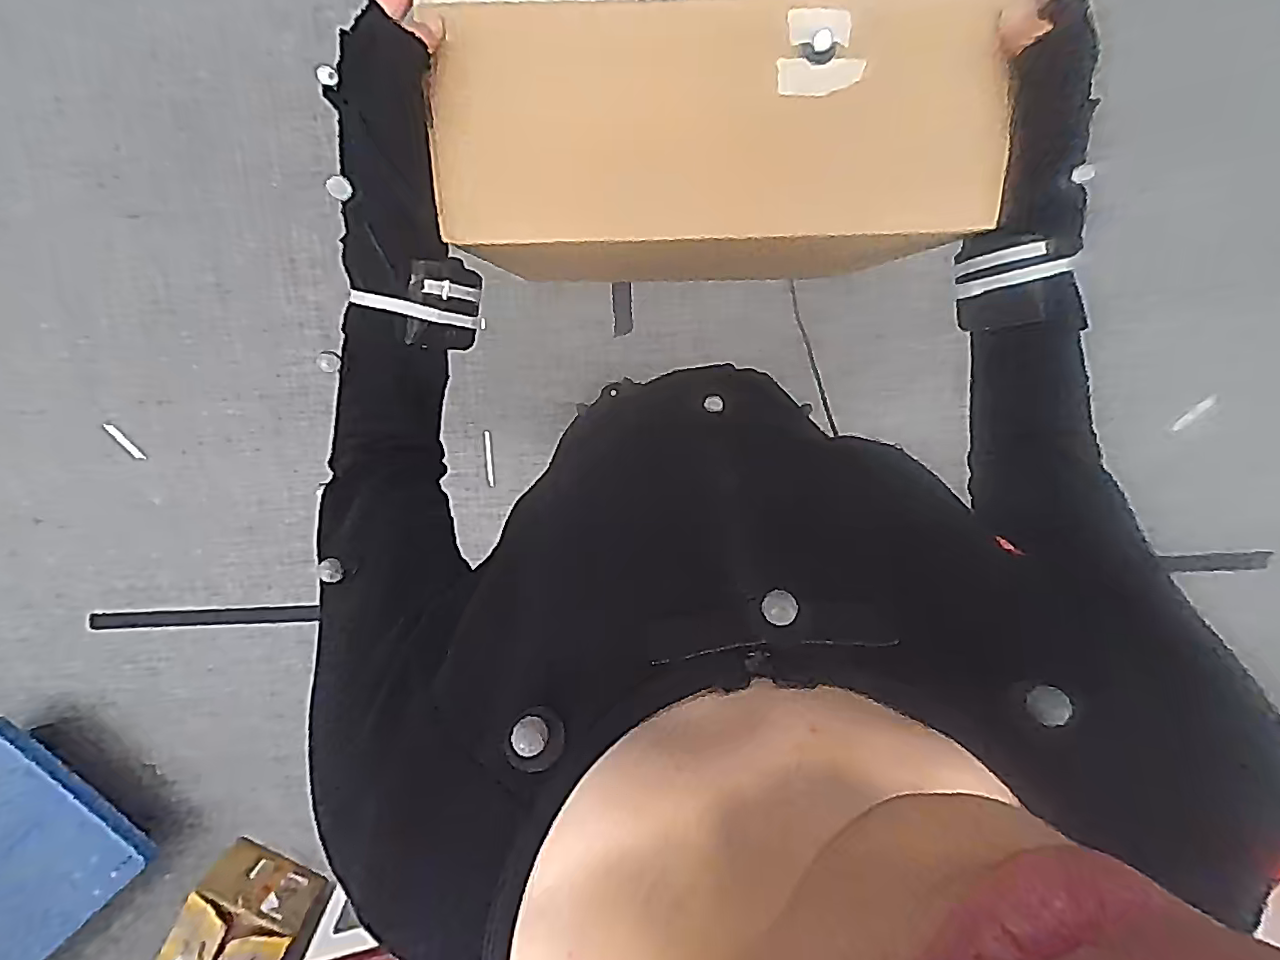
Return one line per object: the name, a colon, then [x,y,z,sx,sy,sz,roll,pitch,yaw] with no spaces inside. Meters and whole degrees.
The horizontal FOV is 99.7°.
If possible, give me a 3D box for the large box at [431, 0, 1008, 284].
large box: [0.052,-0.372,0.513,0.408,0.320,0.320,-1,104,0]
